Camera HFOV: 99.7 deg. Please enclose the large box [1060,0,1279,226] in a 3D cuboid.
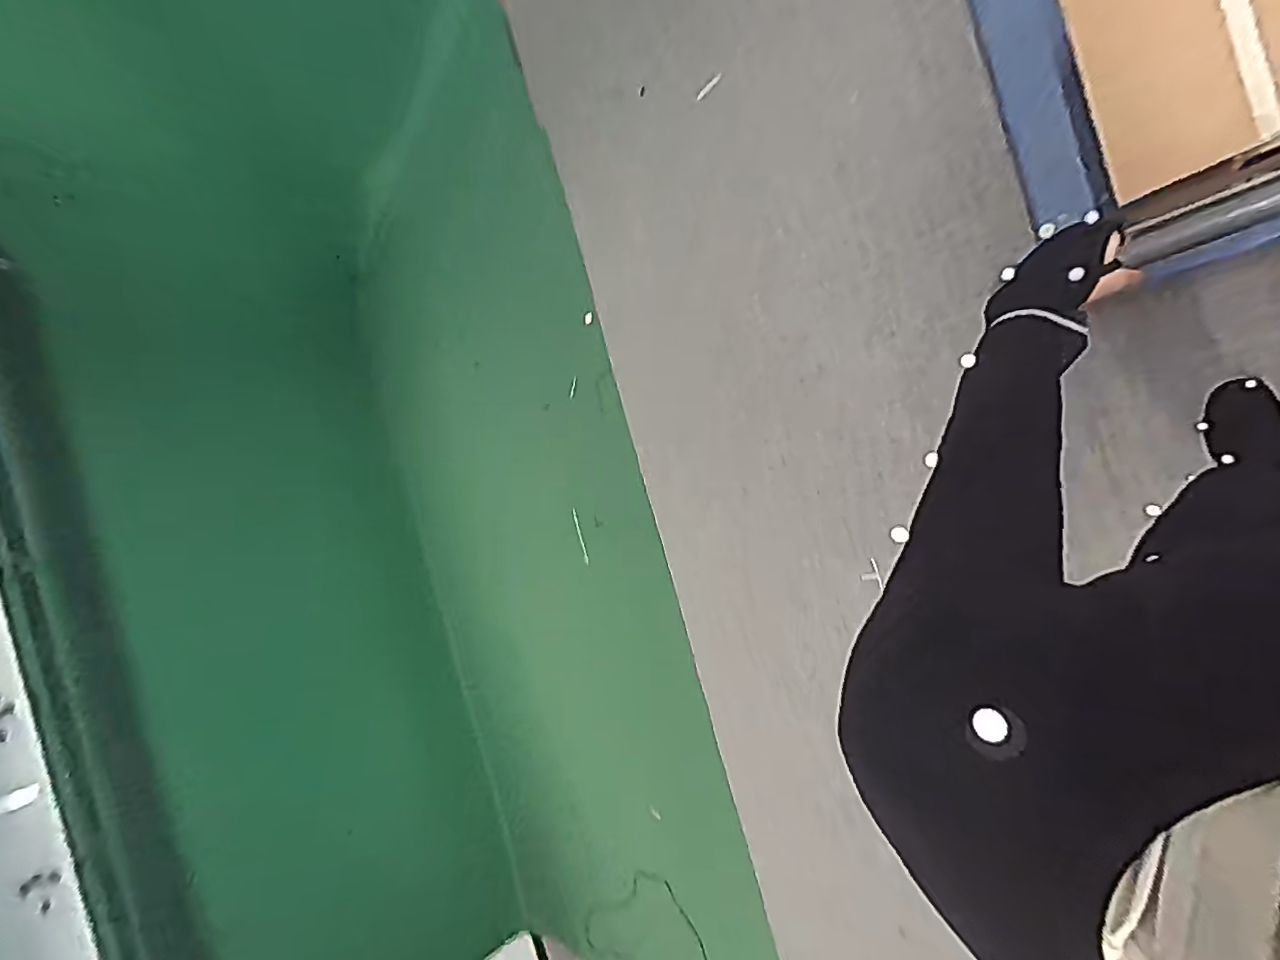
[{"bbox_3d":[0.893,-0.664,0.810,0.320,0.320,0.408,-16,89,49],"label":"large box"}]
